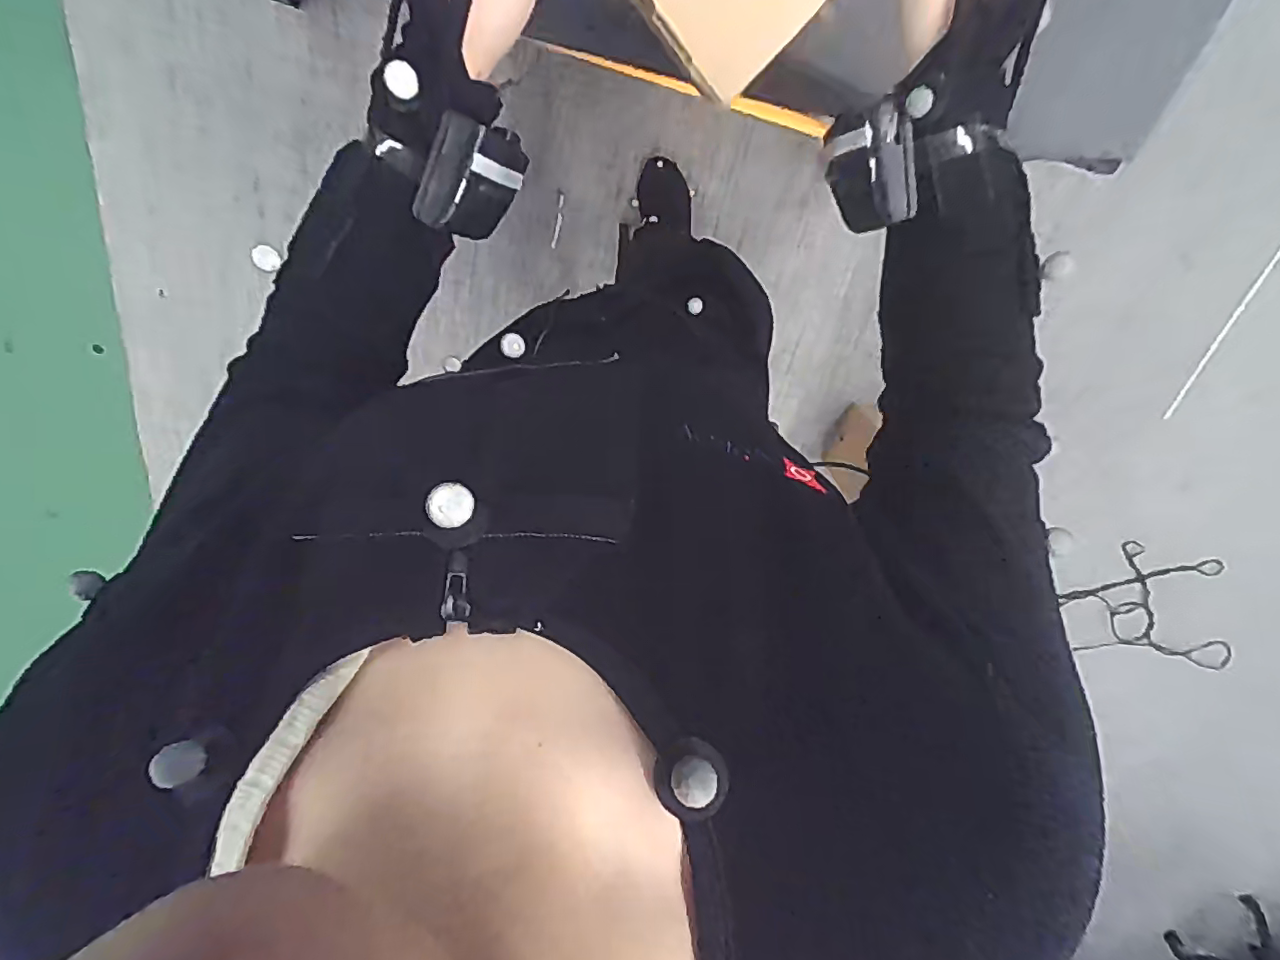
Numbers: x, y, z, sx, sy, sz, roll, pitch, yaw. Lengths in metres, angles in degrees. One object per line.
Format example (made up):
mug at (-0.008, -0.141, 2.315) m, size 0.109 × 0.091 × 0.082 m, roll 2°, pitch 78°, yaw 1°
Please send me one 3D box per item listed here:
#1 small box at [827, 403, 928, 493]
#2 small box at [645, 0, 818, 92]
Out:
small box at (0.570, -0.061, 1.300) m, size 0.168 × 0.176 × 0.179 m, roll 16°, pitch 117°, yaw -6°
small box at (0.059, -0.359, 0.299) m, size 0.179 × 0.176 × 0.168 m, roll -37°, pitch 118°, yaw 25°
